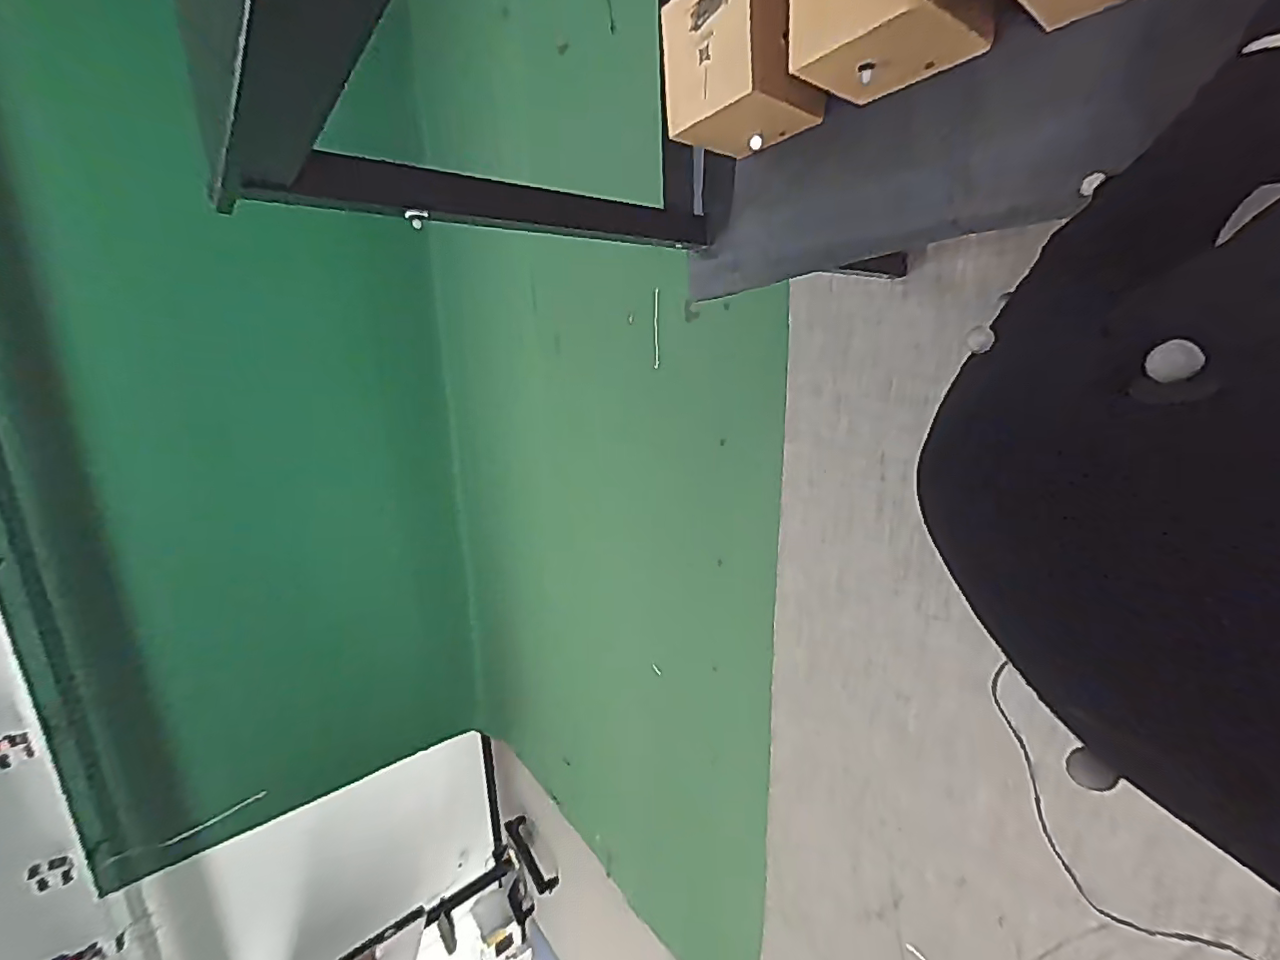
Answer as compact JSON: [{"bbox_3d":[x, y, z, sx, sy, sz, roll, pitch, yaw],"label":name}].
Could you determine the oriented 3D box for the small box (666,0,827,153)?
[{"bbox_3d":[0.157,-0.615,0.794,0.168,0.176,0.179,11,109,51],"label":"small box"}]
